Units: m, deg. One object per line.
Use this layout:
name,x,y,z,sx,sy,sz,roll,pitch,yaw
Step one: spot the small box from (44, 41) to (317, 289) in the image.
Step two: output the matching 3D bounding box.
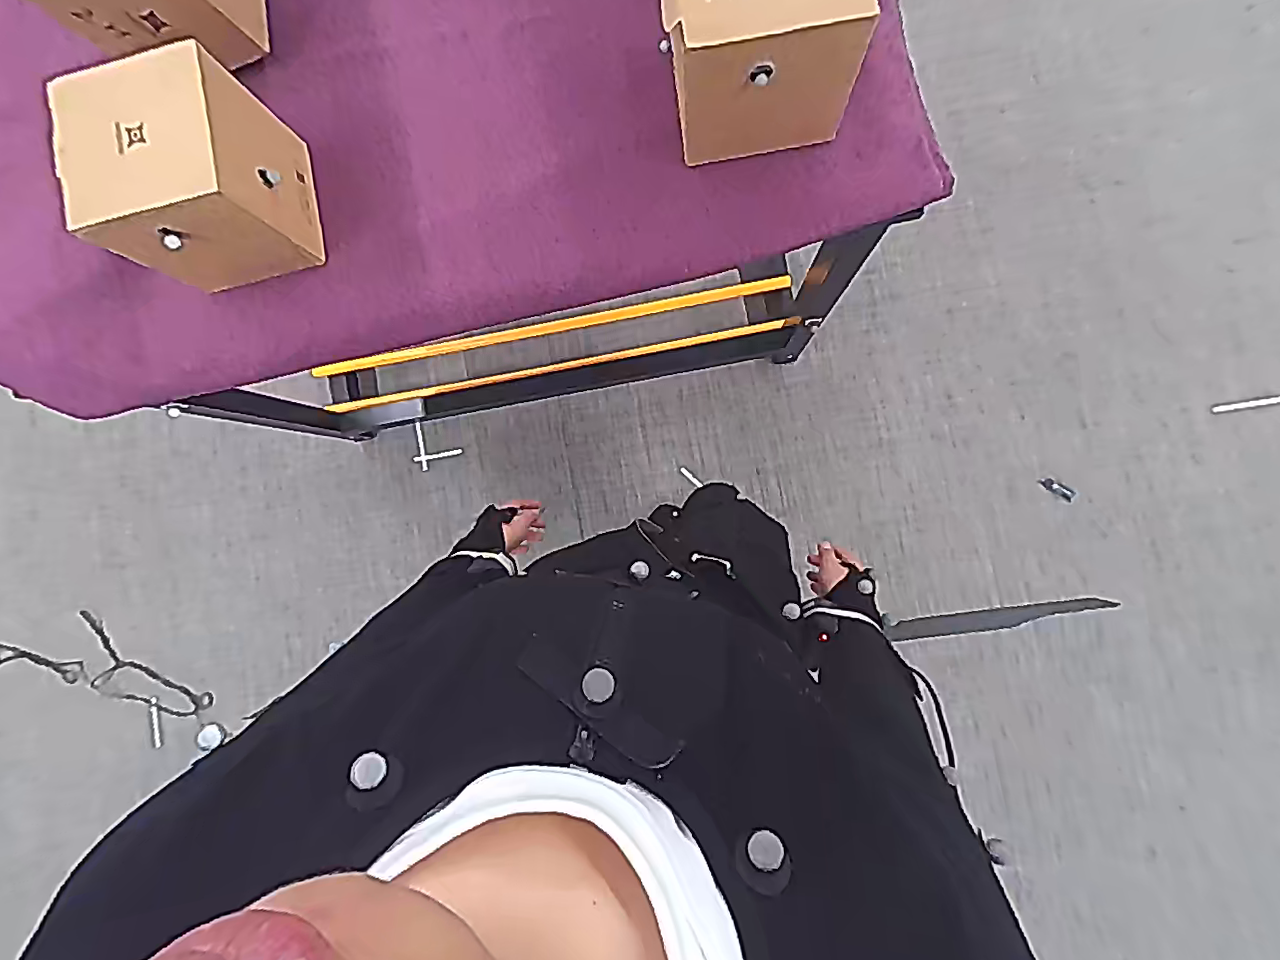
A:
small box,-0.507,-0.344,0.626,0.179,0.176,0.168,-11,87,5

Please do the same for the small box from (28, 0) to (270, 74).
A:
small box,-0.578,-0.610,0.628,0.179,0.168,0.176,-7,86,13

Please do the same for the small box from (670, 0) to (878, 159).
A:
small box,0.124,-0.471,0.565,0.179,0.176,0.168,-7,86,5
